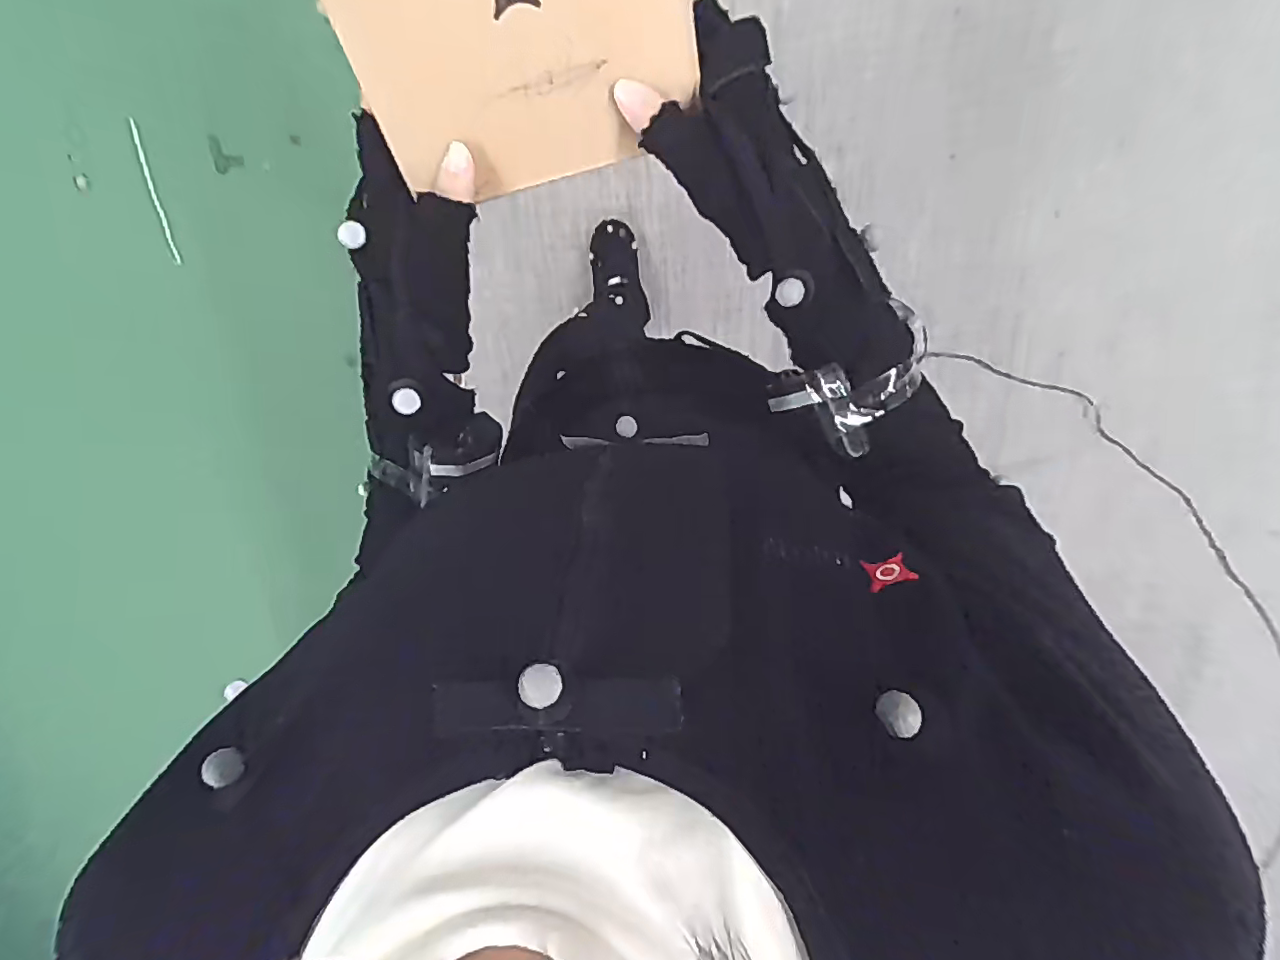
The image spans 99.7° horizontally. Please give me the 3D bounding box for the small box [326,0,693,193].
[{"bbox_3d":[-0.077,-0.292,0.299,0.168,0.176,0.179,-14,134,1],"label":"small box"}]
